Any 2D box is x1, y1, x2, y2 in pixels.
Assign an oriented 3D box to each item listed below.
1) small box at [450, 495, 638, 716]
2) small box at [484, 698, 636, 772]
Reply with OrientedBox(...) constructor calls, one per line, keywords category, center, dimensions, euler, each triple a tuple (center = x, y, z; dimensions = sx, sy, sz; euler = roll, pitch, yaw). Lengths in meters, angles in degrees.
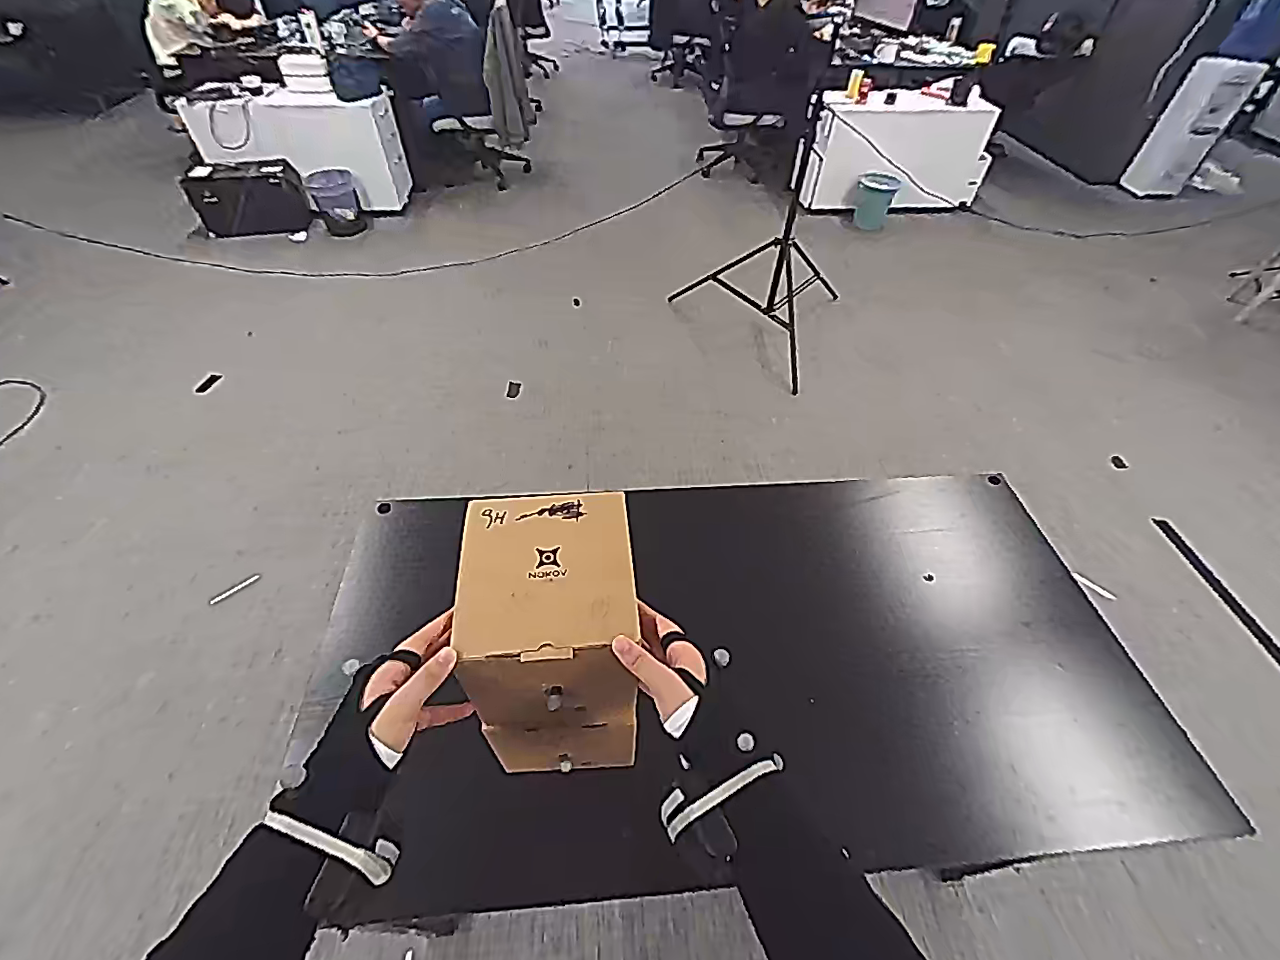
OrientedBox(category="small box", center=(-0.090, 0.139, 0.576), dimensions=(0.168, 0.176, 0.179), euler=(-4, 50, -6))
OrientedBox(category="small box", center=(-0.092, 0.253, 0.692), dimensions=(0.168, 0.176, 0.179), euler=(-2, 49, -3))
